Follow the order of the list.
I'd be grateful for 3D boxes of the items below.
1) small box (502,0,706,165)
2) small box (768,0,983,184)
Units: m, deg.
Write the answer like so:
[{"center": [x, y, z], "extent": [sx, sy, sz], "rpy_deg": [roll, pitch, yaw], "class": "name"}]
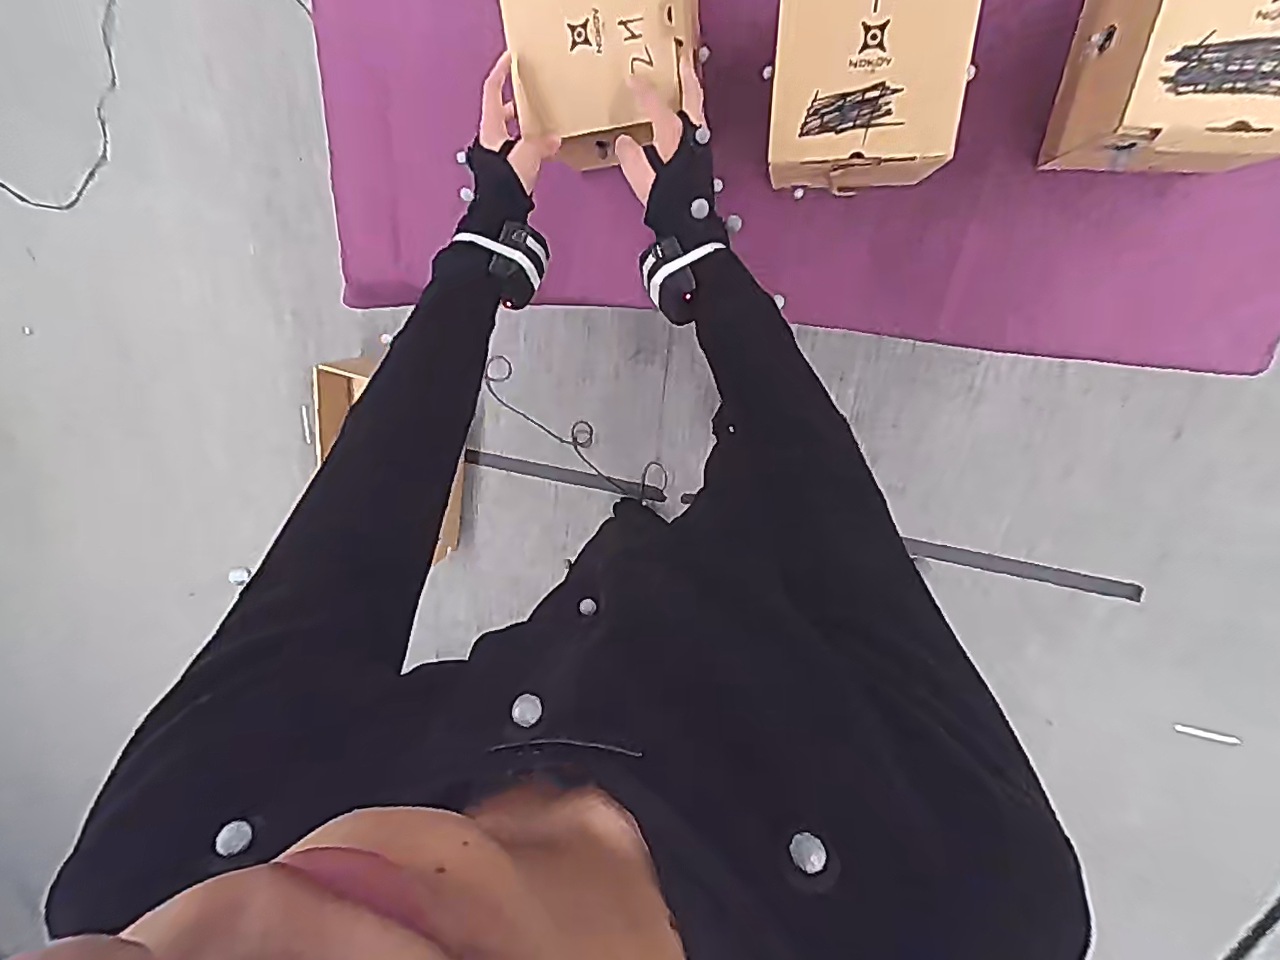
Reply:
[{"center": [-0.029, -0.461, 0.593], "extent": [0.179, 0.176, 0.168], "rpy_deg": [0, 111, 15], "class": "small box"}, {"center": [0.224, -0.406, 0.545], "extent": [0.168, 0.176, 0.179], "rpy_deg": [6, 111, 13], "class": "small box"}]
